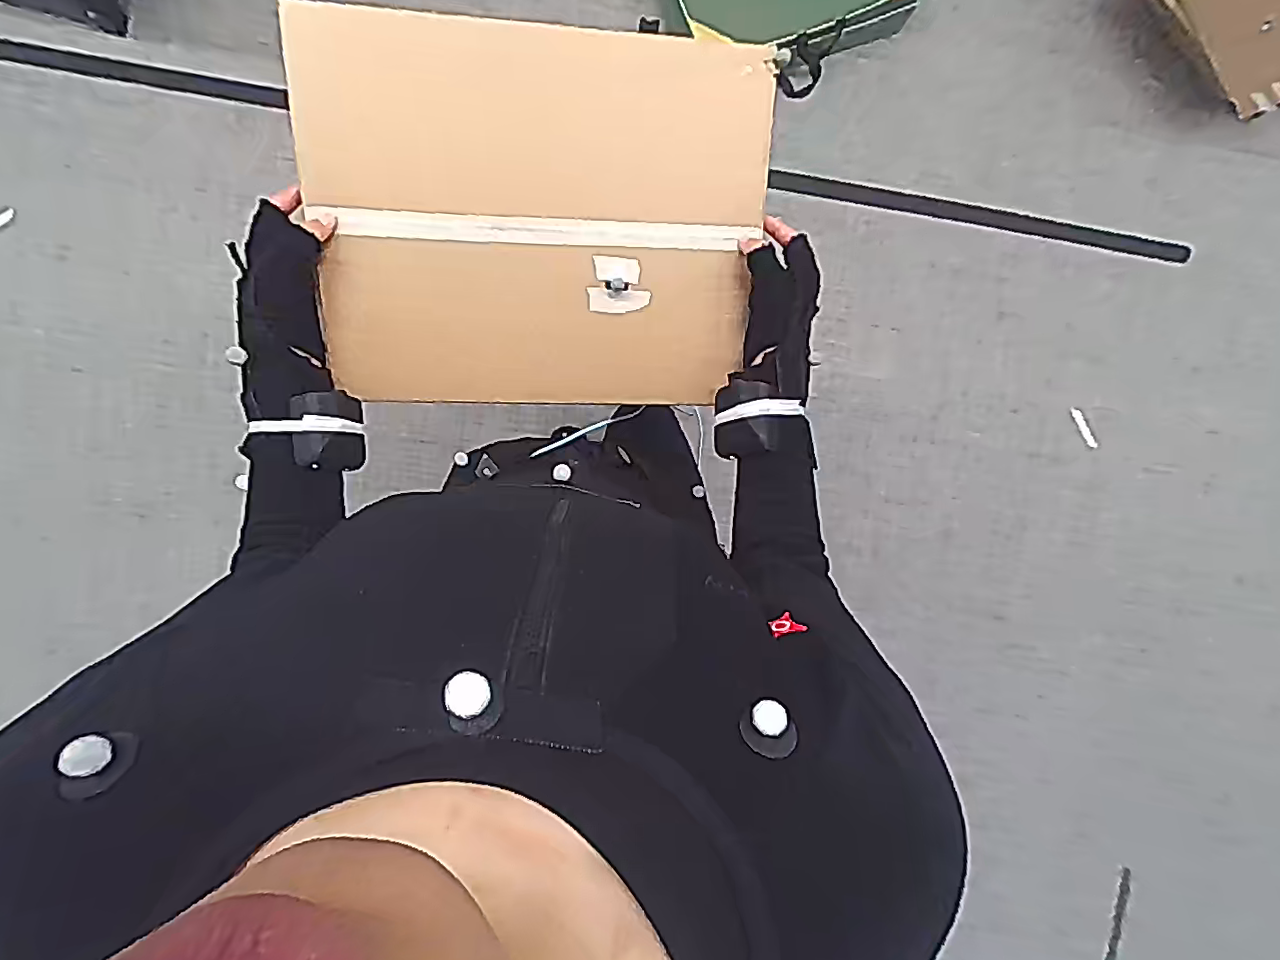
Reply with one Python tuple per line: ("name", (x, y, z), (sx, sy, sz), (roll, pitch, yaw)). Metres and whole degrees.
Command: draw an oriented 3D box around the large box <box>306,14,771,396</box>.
("large box", (-0.101, -0.277, 0.647), (0.408, 0.320, 0.320), (0, 107, -7))
